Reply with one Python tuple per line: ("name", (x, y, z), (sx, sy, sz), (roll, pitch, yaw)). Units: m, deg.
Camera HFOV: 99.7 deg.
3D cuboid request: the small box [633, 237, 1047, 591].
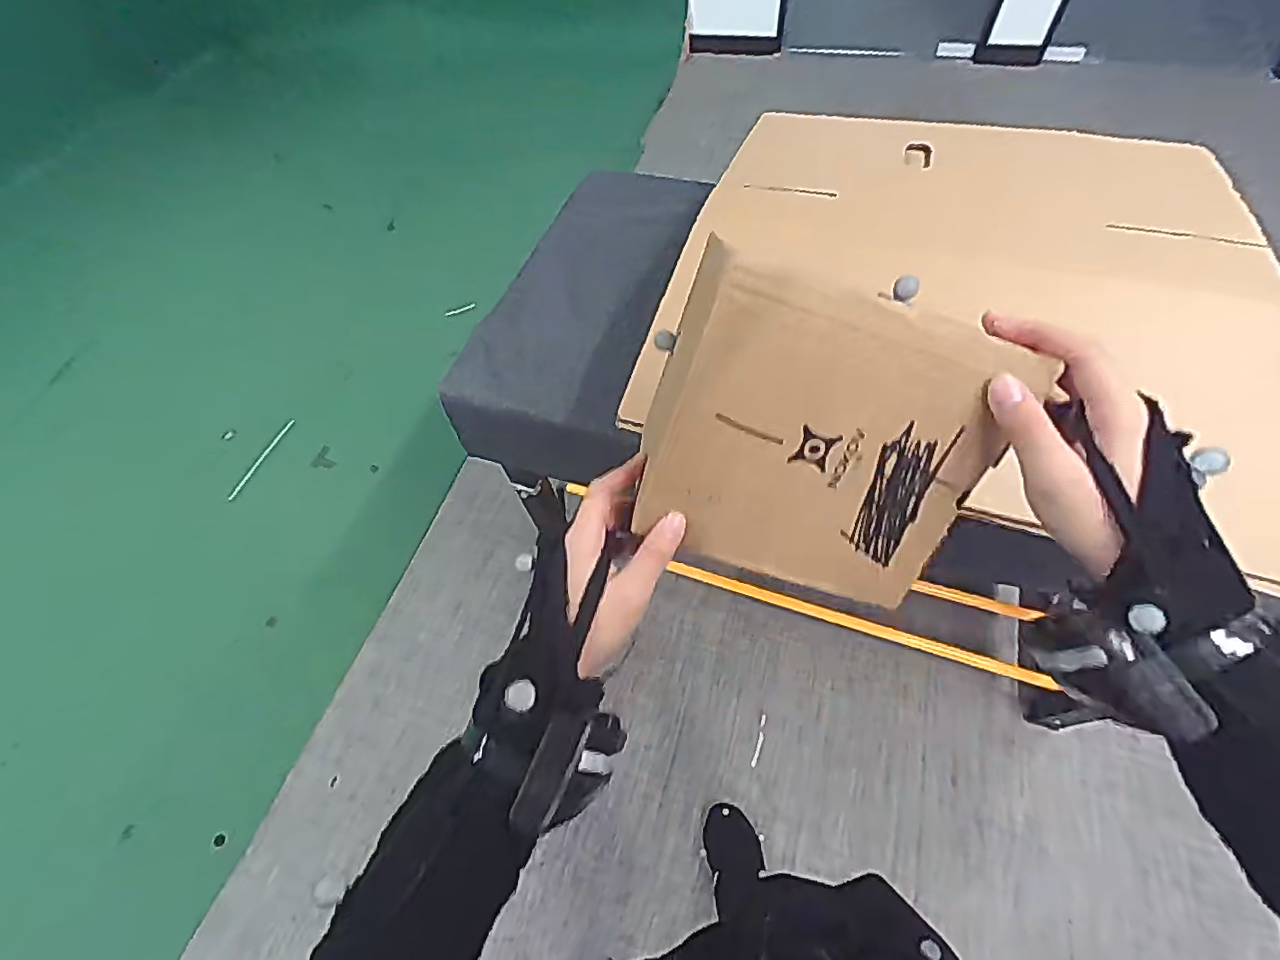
("small box", (0.106, -0.057, 0.372), (0.179, 0.168, 0.176), (17, 26, -5))
